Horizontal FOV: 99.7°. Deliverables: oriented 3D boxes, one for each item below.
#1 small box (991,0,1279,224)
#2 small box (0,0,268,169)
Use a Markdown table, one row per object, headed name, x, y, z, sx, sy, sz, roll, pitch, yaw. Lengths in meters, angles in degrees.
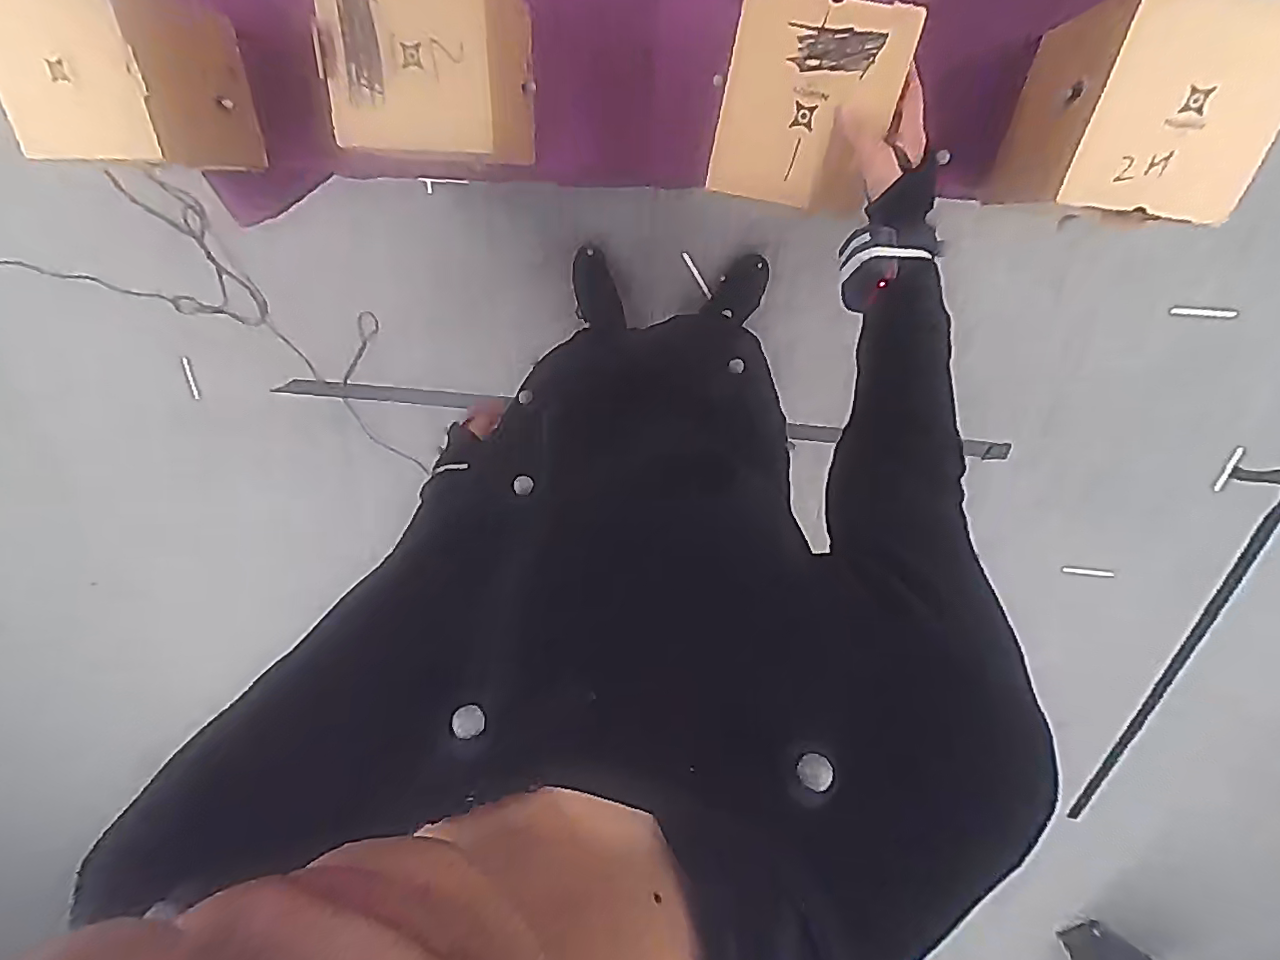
| name | x | y | z | sx | sy | sz | roll | pitch | yaw |
| --- | --- | --- | --- | --- | --- | --- | --- | --- | --- |
| small box | 0.510 | -0.375 | 0.564 | 0.168 | 0.176 | 0.179 | 10 | 117 | 3 |
| small box | -0.602 | -0.472 | 0.647 | 0.179 | 0.176 | 0.168 | 2 | 117 | 4 |
